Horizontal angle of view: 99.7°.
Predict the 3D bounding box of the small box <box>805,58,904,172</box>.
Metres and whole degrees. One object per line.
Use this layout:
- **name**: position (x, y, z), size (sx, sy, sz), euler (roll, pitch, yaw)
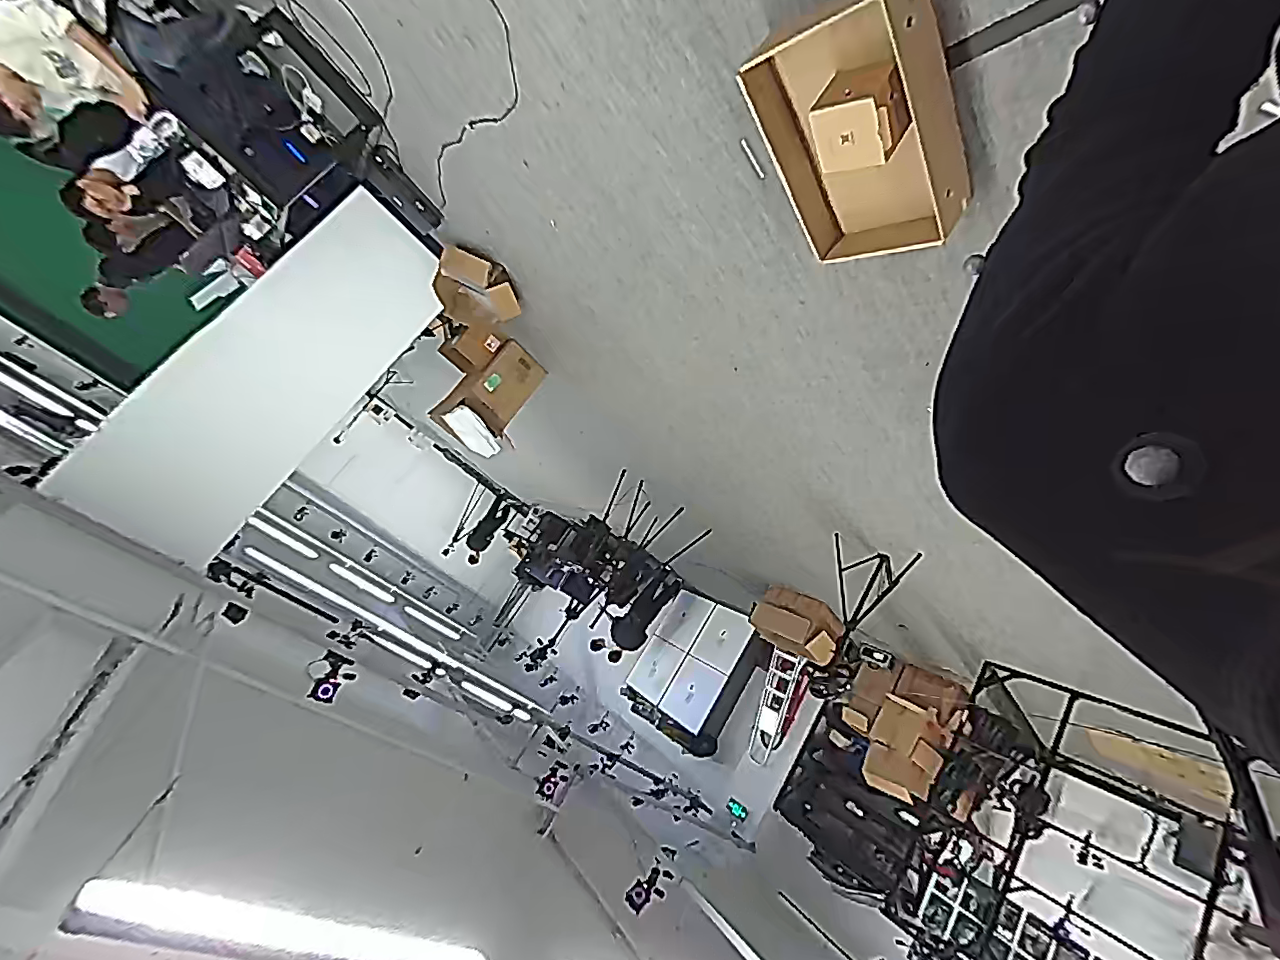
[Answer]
- **small box**: position (0.552, -0.923, 1.371), size (0.179, 0.176, 0.168), euler (19, 158, 42)
